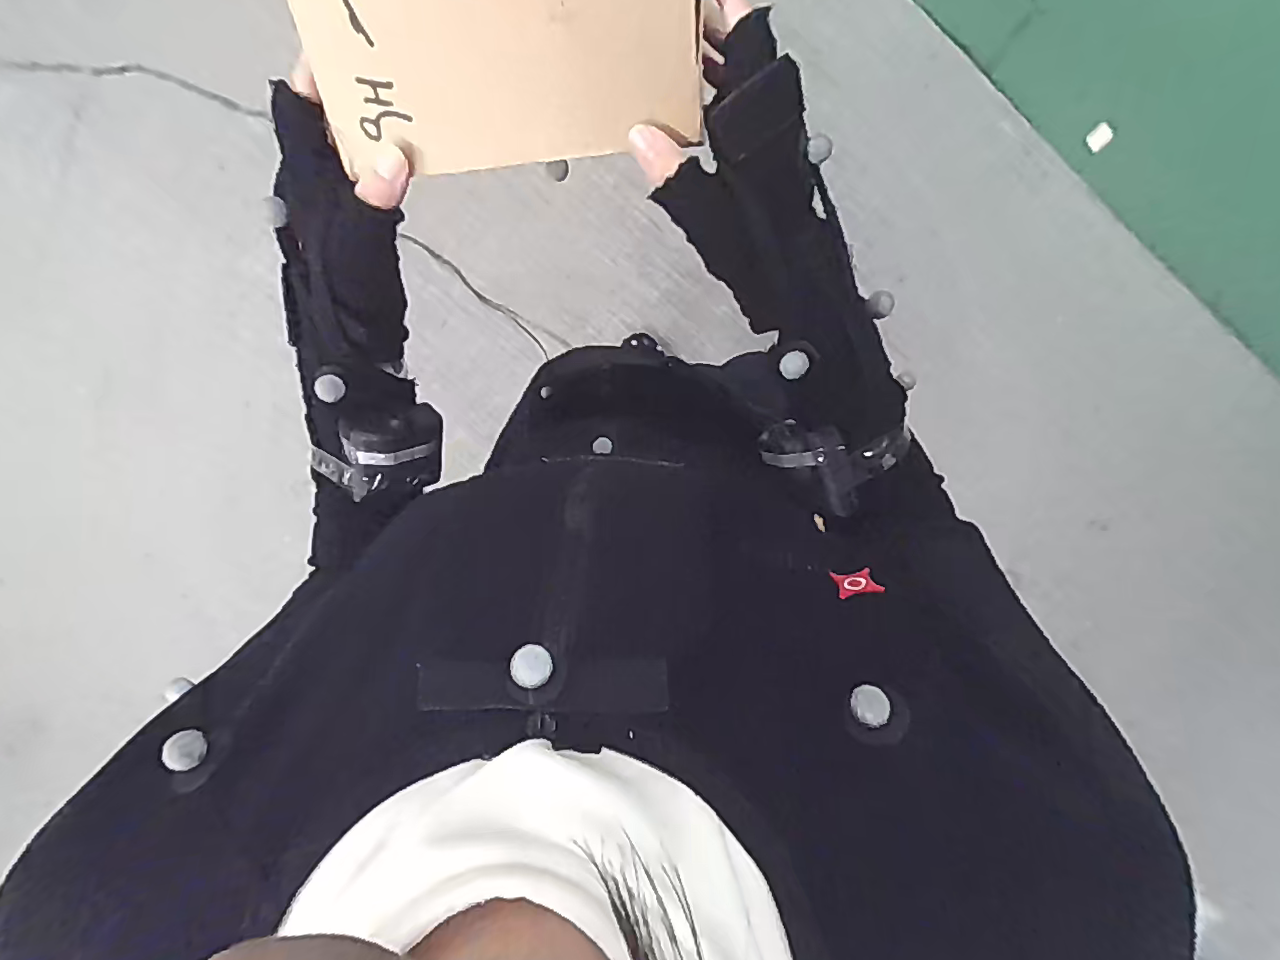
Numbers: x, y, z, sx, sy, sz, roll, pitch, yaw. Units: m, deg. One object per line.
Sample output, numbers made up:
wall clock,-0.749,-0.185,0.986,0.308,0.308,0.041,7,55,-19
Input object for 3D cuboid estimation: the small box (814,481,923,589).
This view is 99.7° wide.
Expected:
small box,0.557,0.131,1.352,0.168,0.176,0.179,38,106,-5
